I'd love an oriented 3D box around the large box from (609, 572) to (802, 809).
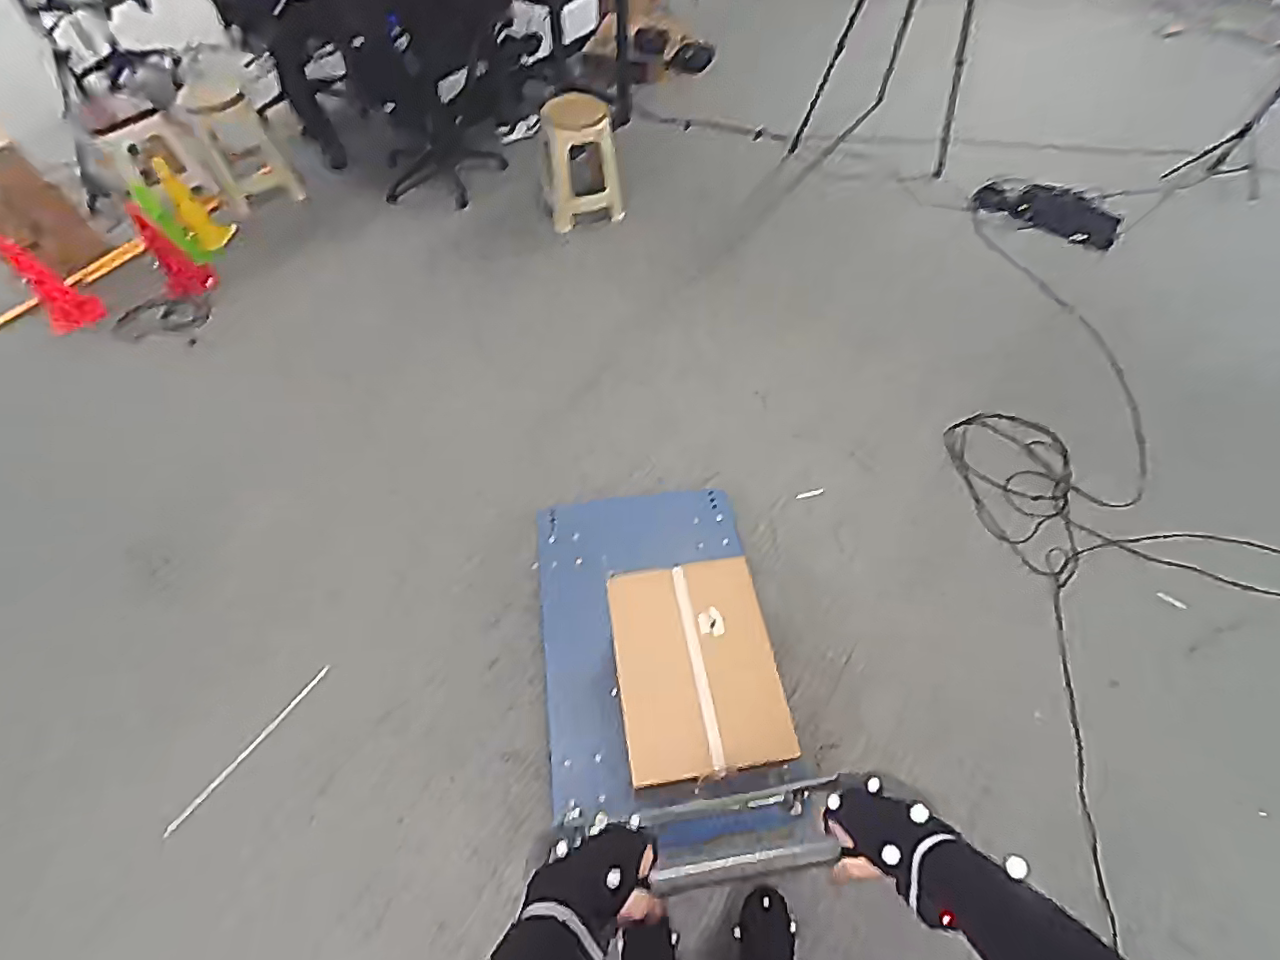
[{"bbox_3d":[0.119,0.472,1.213,0.320,0.320,0.408,-8,55,-5],"label":"large box"}]
